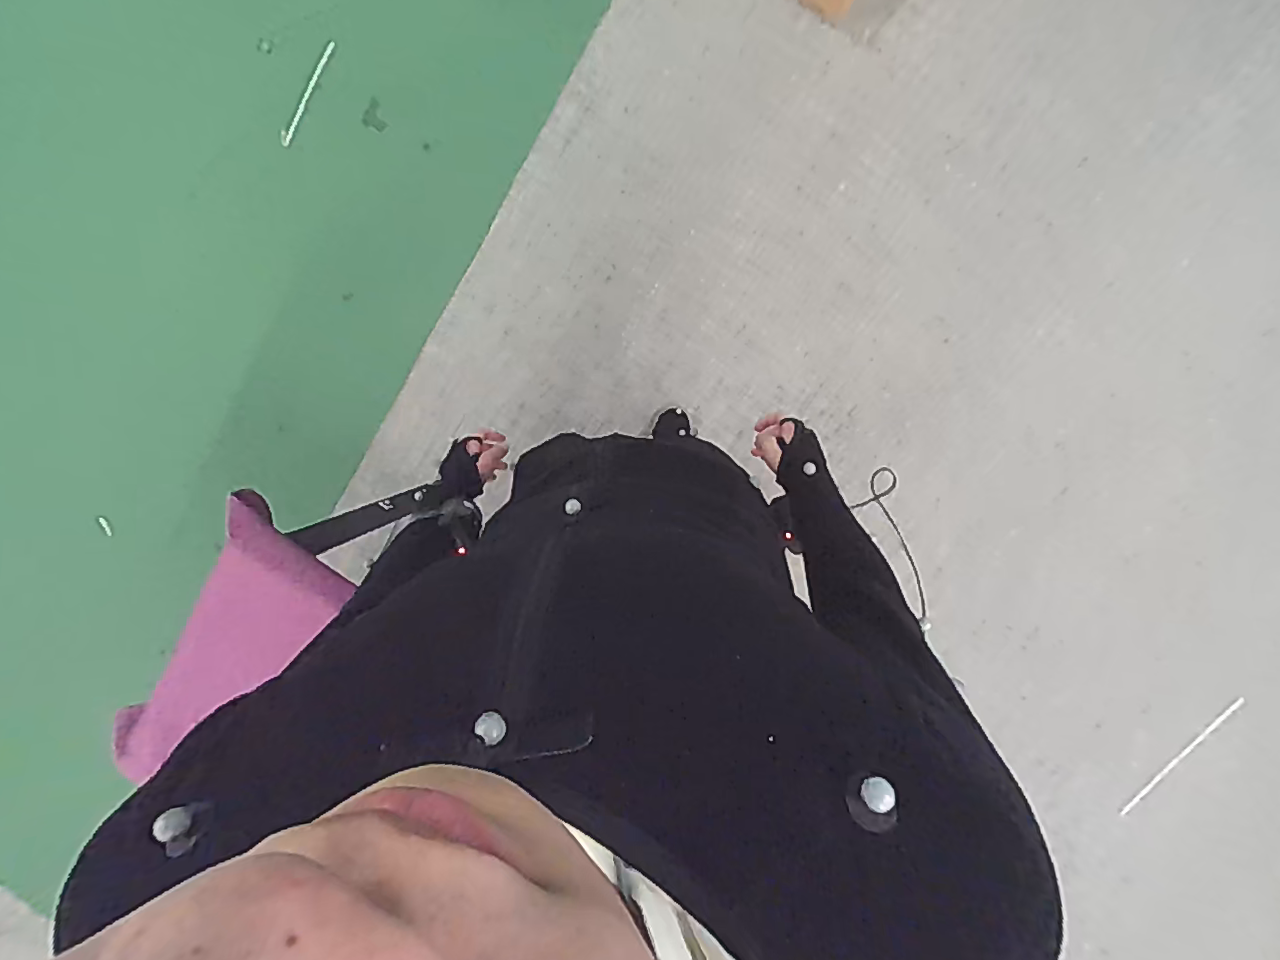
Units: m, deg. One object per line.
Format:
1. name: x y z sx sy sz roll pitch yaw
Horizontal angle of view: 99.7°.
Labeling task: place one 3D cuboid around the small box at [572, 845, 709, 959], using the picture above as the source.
1. small box: 0.006 0.779 0.920 0.179 0.176 0.168 34 104 2

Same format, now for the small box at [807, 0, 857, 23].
1. small box: 0.473 -1.235 1.258 0.168 0.176 0.179 36 101 0
